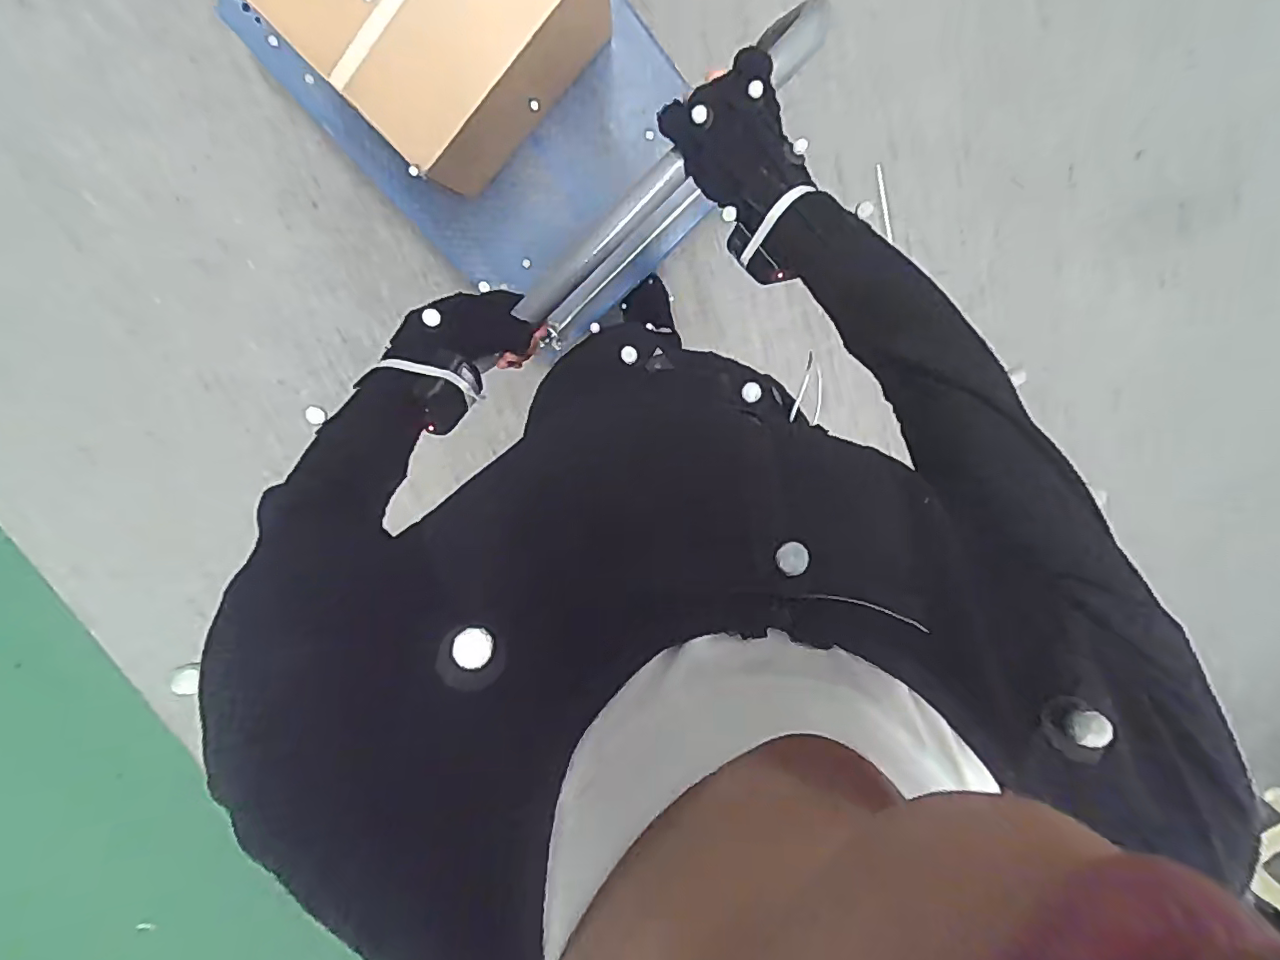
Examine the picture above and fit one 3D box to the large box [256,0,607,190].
[{"bbox_3d":[-0.295,-0.759,0.870,0.320,0.320,0.408,43,104,-16],"label":"large box"}]
